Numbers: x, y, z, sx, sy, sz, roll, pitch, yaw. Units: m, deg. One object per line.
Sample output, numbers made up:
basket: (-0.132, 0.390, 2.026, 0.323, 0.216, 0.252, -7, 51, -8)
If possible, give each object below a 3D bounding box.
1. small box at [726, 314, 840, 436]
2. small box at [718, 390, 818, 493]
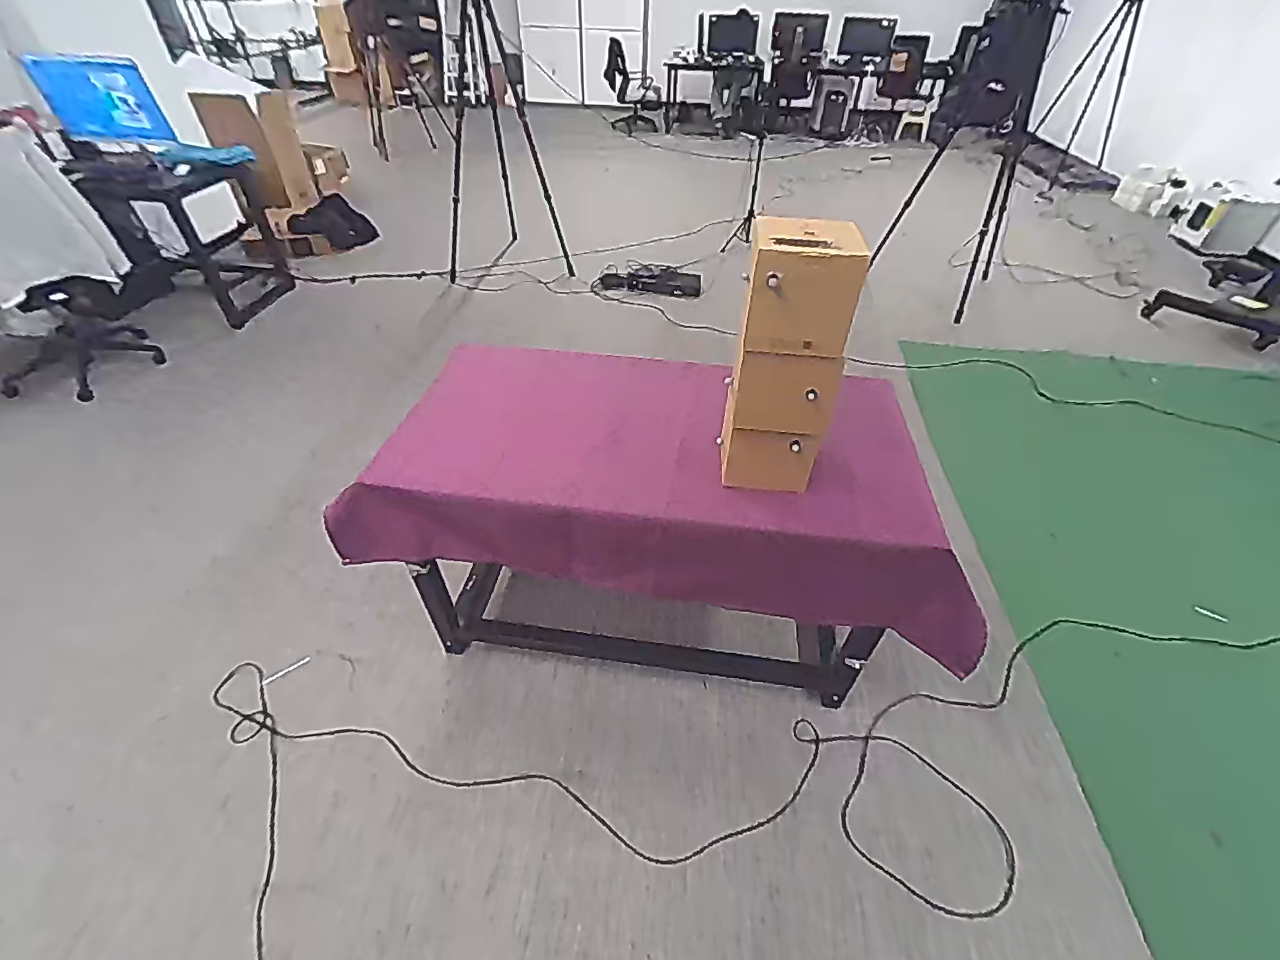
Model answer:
small box: (0.265, -0.200, 1.042, 0.179, 0.176, 0.168, 5, 41, 5)
small box: (0.266, -0.089, 1.163, 0.179, 0.176, 0.168, 4, 41, 3)
